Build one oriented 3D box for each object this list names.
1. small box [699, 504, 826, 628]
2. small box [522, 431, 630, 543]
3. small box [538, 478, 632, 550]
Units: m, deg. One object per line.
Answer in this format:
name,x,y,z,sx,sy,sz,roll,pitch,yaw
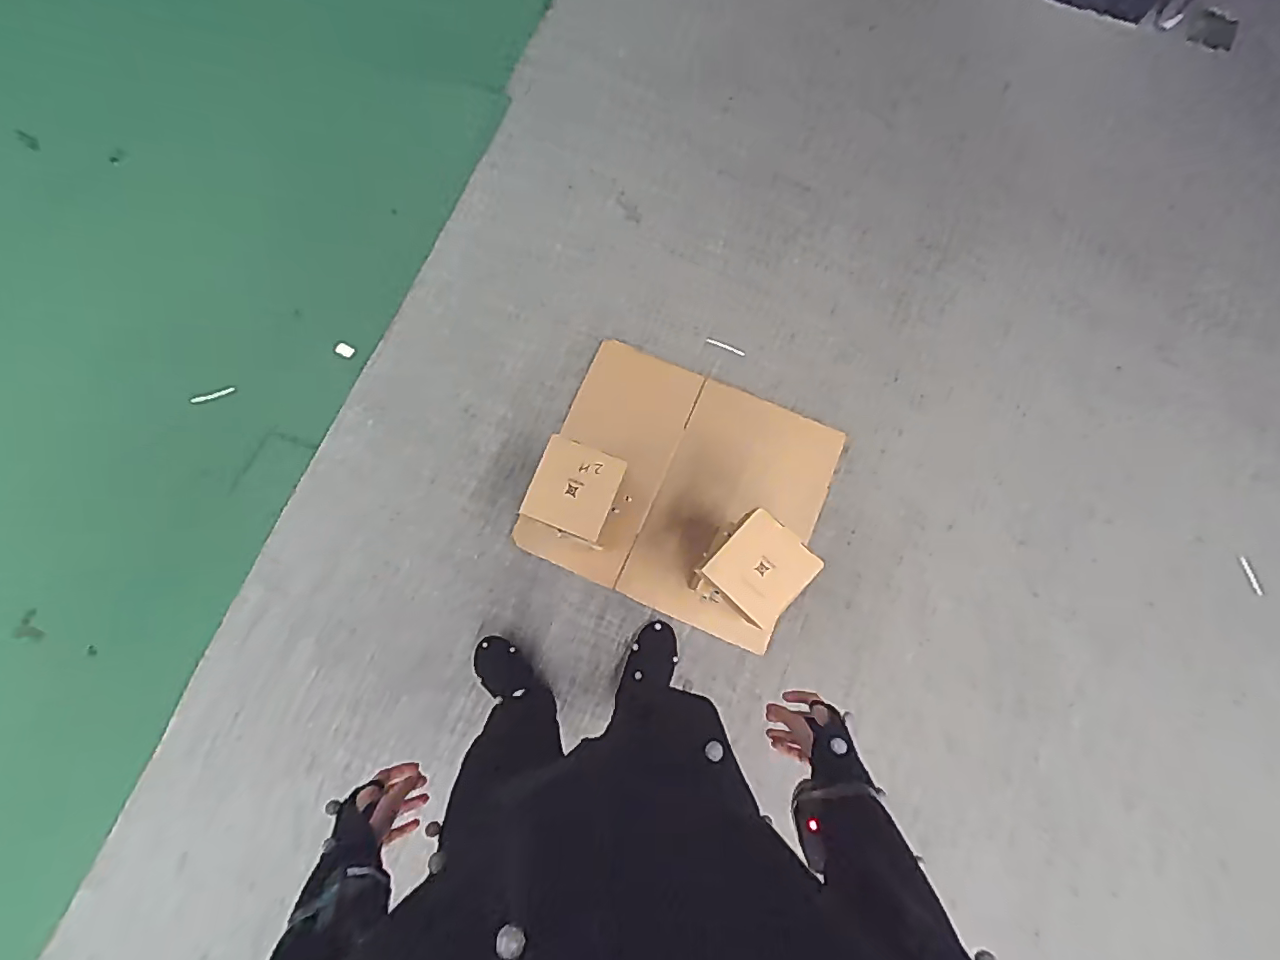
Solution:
small box,0.237,0.173,1.100,0.168,0.176,0.179,44,83,7
small box,-0.123,0.024,1.135,0.168,0.176,0.179,22,81,4
small box,-0.121,0.060,1.296,0.168,0.176,0.179,21,80,5
